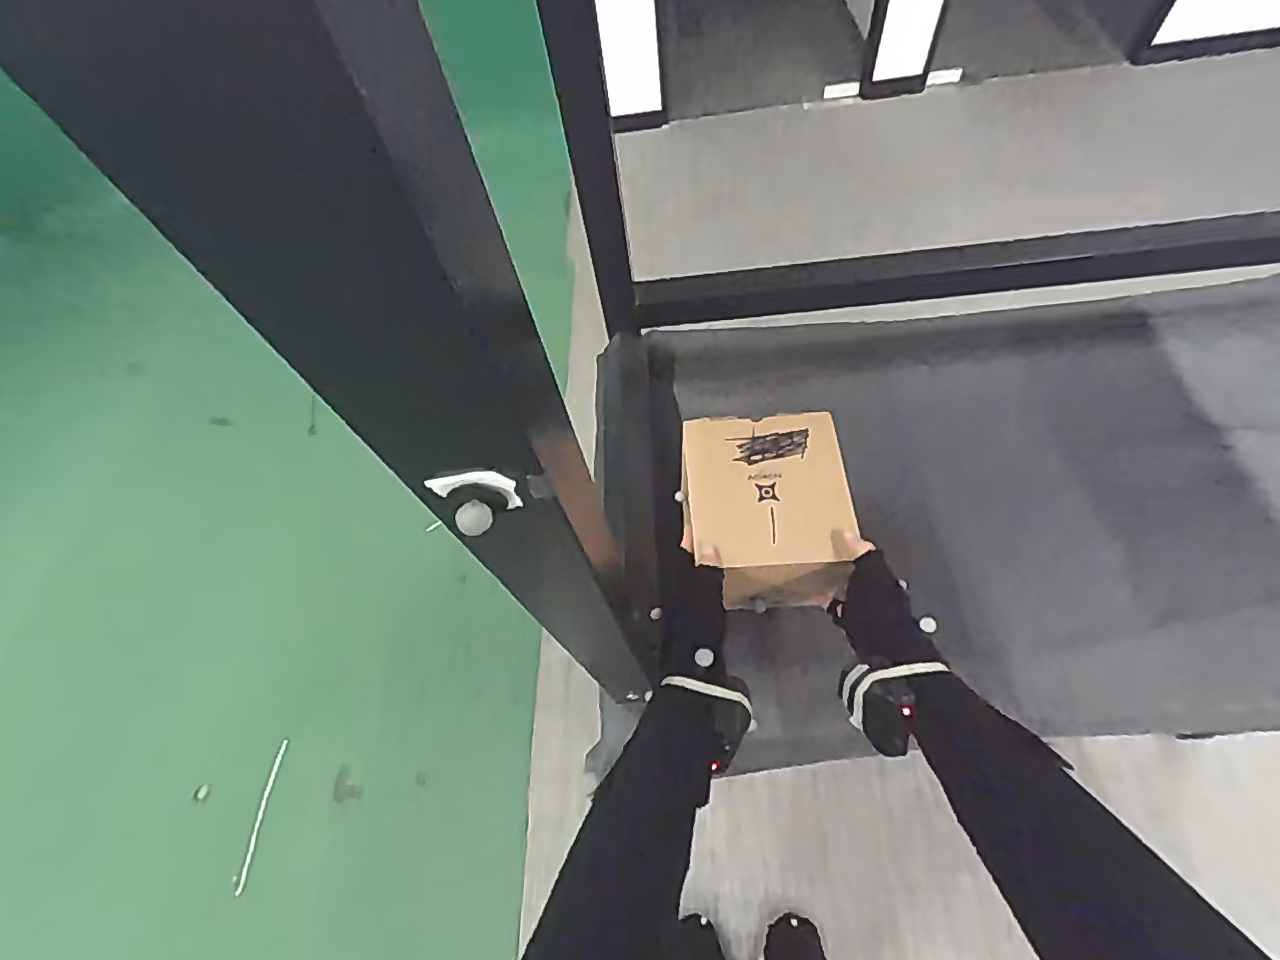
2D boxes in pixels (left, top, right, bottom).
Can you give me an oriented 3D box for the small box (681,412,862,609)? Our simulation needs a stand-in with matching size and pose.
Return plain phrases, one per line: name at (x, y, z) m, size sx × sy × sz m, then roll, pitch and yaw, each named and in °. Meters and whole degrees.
small box at (0.135, 0.041, 0.634) m, size 0.168 × 0.176 × 0.179 m, roll -4°, pitch 62°, yaw 2°
